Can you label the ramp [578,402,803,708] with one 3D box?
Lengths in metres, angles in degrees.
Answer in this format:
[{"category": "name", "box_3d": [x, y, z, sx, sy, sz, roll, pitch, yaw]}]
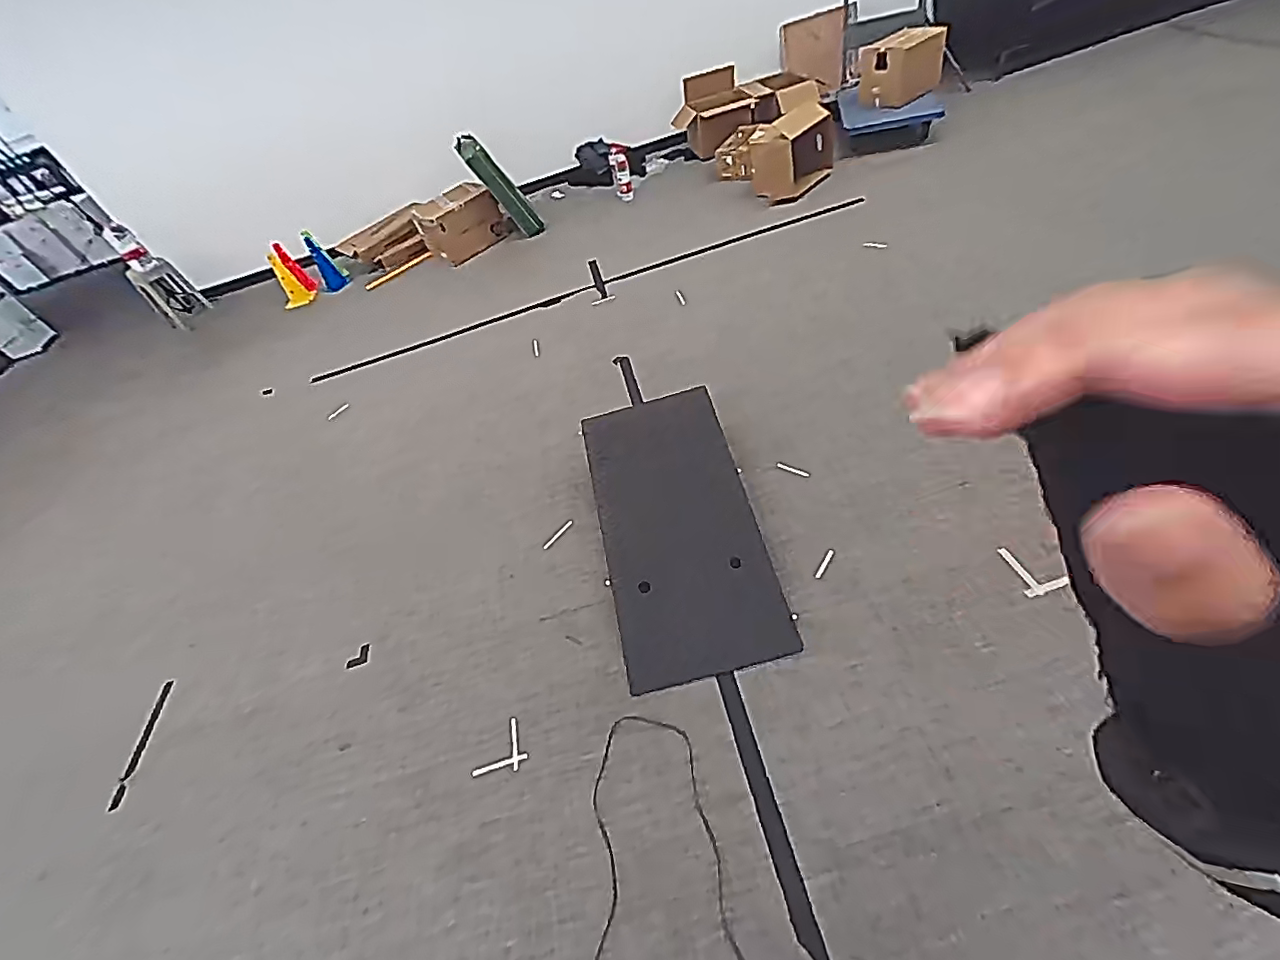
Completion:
[{"category": "ramp", "box_3d": [0.110, 0.172, 1.767, 0.509, 0.206, 0.991, -18, 45, 0]}]
